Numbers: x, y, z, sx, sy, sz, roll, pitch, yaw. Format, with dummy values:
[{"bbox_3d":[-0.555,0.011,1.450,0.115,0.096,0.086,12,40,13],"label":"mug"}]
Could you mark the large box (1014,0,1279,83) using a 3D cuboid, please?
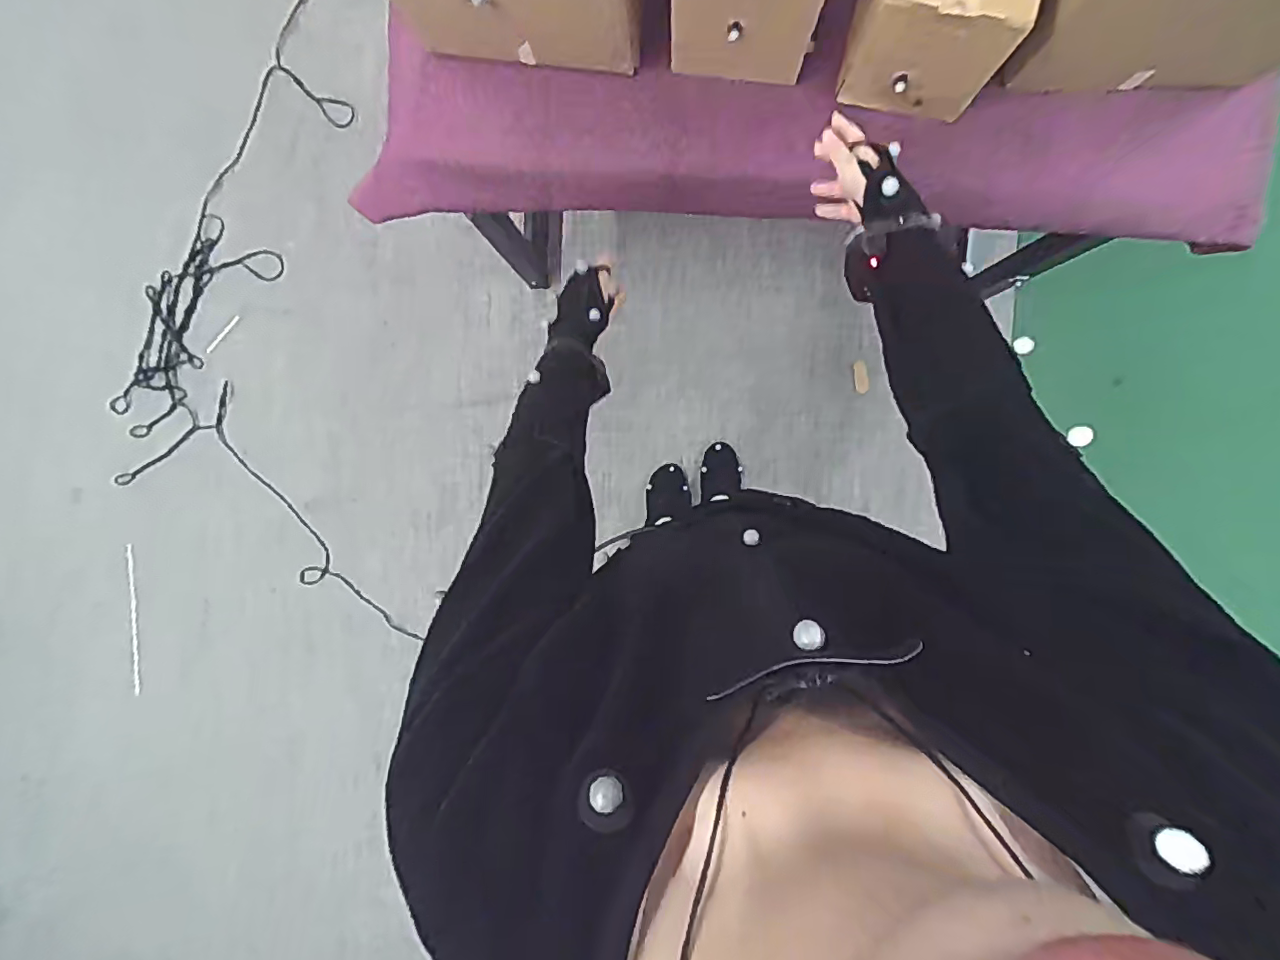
[{"bbox_3d":[0.643,-0.716,0.555,0.320,0.320,0.408,3,95,6],"label":"large box"}]
